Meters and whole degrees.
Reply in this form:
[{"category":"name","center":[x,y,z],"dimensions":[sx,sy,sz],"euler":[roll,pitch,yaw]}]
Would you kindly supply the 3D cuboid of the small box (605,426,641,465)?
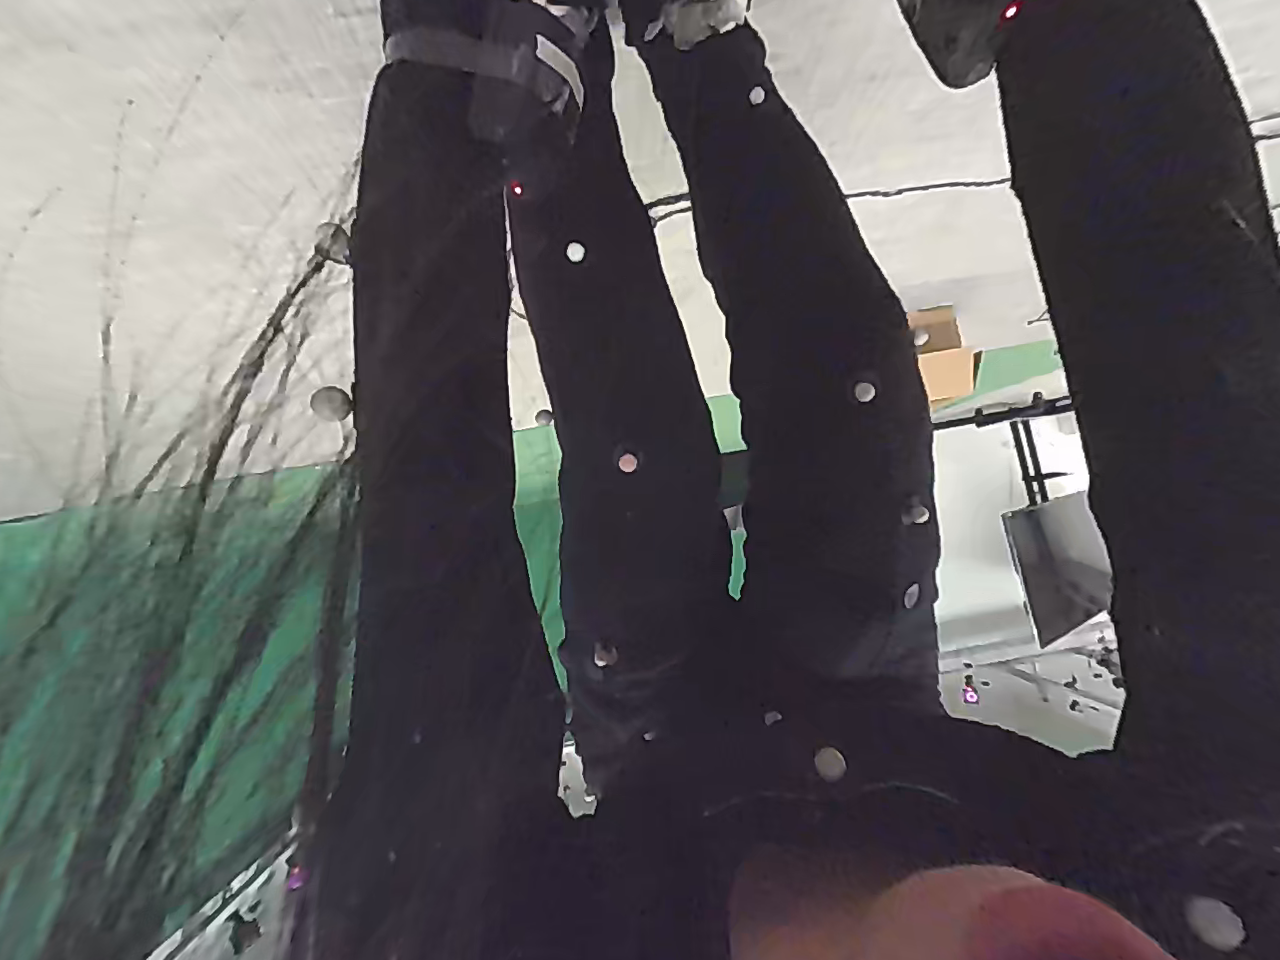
[{"category":"small box","center":[-0.096,-0.191,3.008],"dimensions":[0.179,0.176,0.168],"euler":[-11,175,0]}]
